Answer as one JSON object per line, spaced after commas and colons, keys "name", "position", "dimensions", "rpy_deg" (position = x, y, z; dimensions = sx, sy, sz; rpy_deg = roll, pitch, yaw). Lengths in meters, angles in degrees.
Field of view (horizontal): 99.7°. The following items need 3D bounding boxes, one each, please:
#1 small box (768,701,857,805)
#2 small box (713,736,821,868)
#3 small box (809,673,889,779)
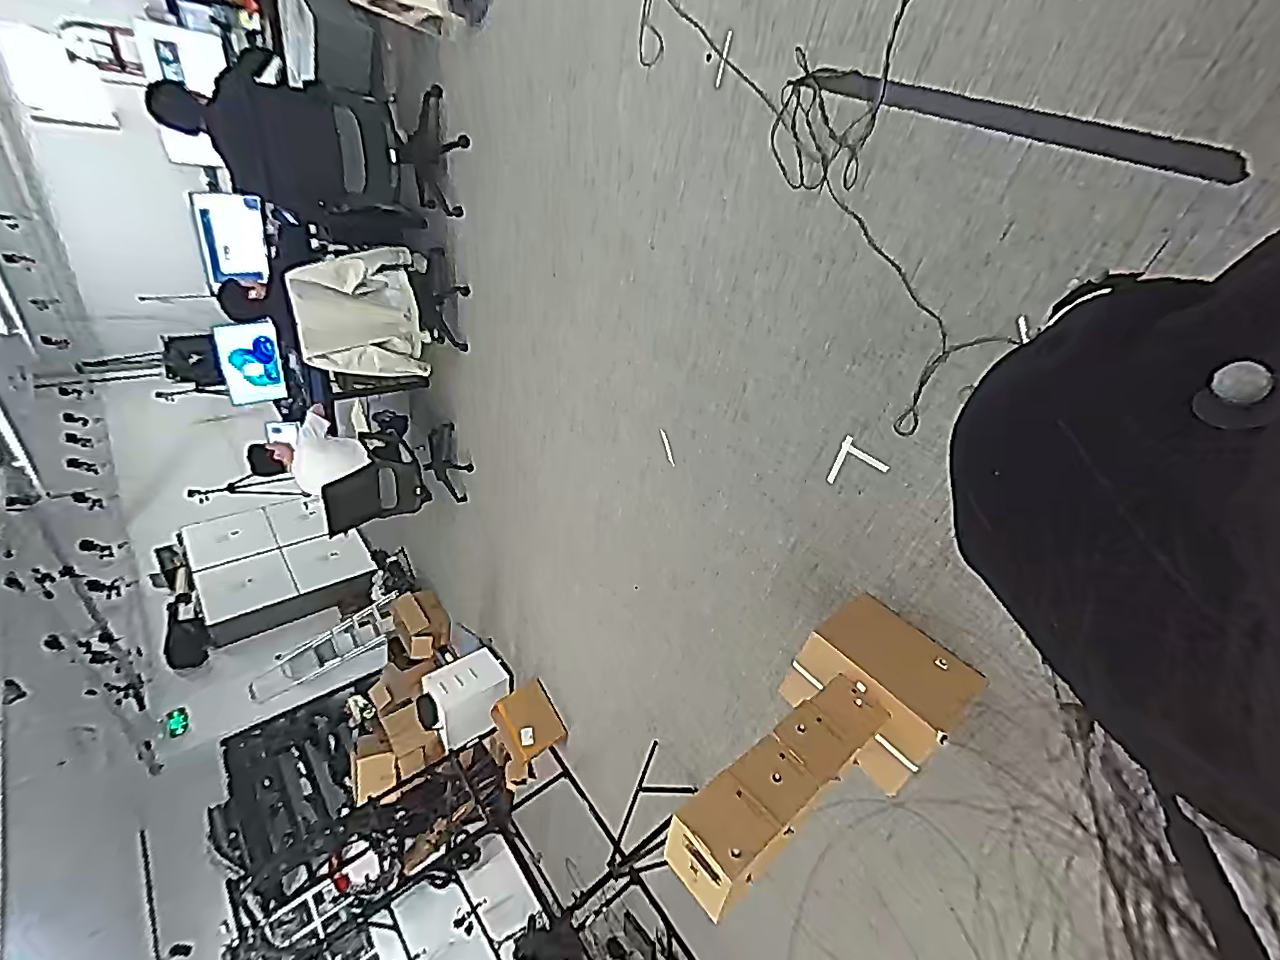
{"name": "small box", "position": [0.424, 0.706, 1.382], "dimensions": [0.168, 0.176, 0.179], "rpy_deg": [38, 132, 36]}
{"name": "small box", "position": [0.302, 0.753, 1.281], "dimensions": [0.168, 0.176, 0.179], "rpy_deg": [35, 129, 39]}
{"name": "small box", "position": [0.548, 0.672, 1.482], "dimensions": [0.168, 0.176, 0.179], "rpy_deg": [39, 131, 34]}
